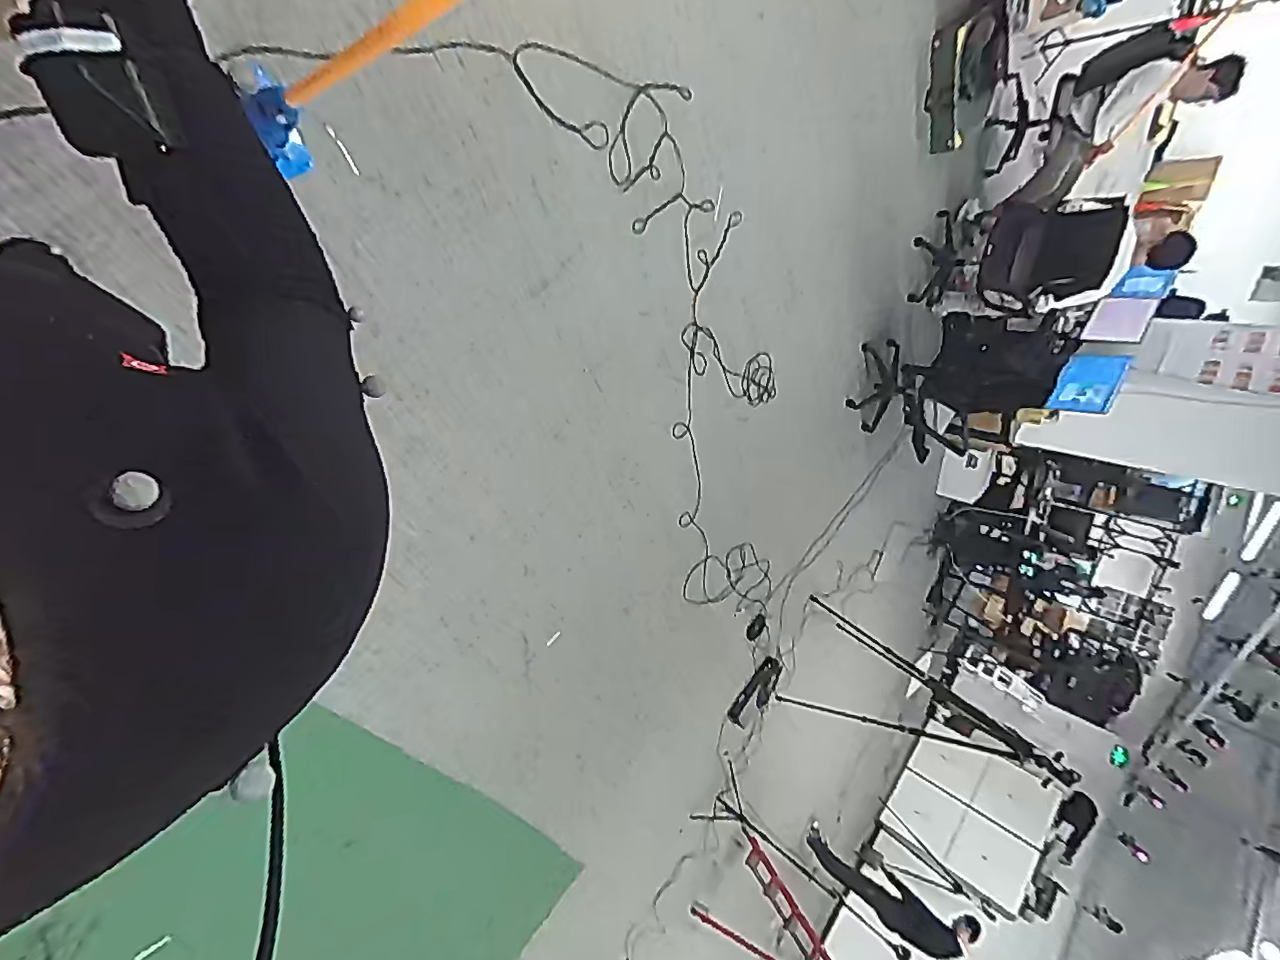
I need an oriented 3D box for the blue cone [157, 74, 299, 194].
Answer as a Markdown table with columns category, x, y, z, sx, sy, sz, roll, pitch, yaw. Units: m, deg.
| category | x | y | z | sx | sy | sz | roll | pitch | yaw |
| --- | --- | --- | --- | --- | --- | --- | --- | --- | --- |
| blue cone | -0.725 | -0.673 | 1.011 | 0.192 | 0.380 | 0.193 | -39 | 131 | -28 |
